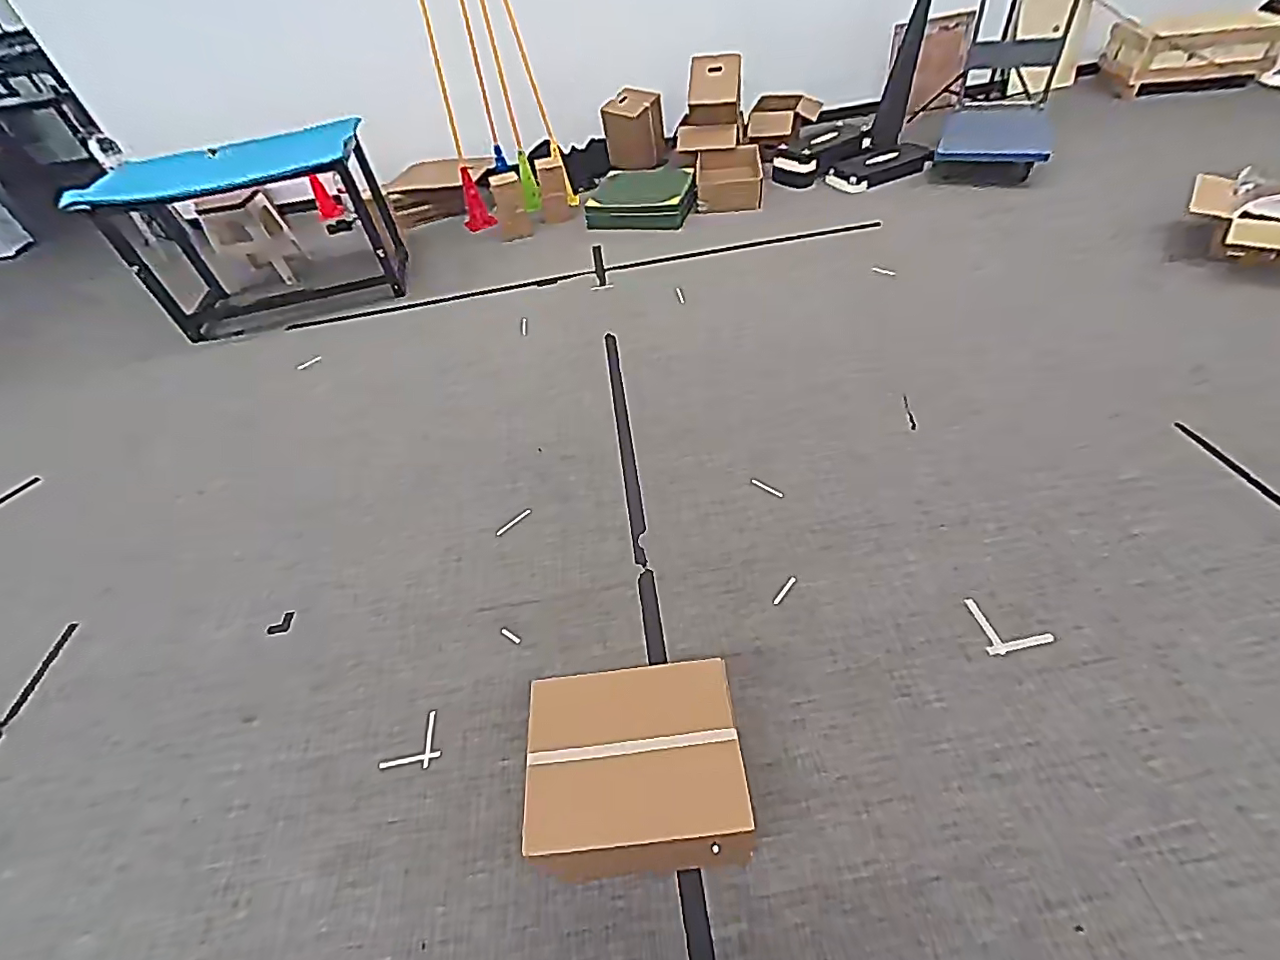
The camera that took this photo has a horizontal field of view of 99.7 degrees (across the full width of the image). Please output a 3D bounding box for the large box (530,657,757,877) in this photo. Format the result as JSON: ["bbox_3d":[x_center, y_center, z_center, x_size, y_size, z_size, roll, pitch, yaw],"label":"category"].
[{"bbox_3d":[0.010,0.609,1.137,0.408,0.320,0.320,-8,46,2],"label":"large box"}]
